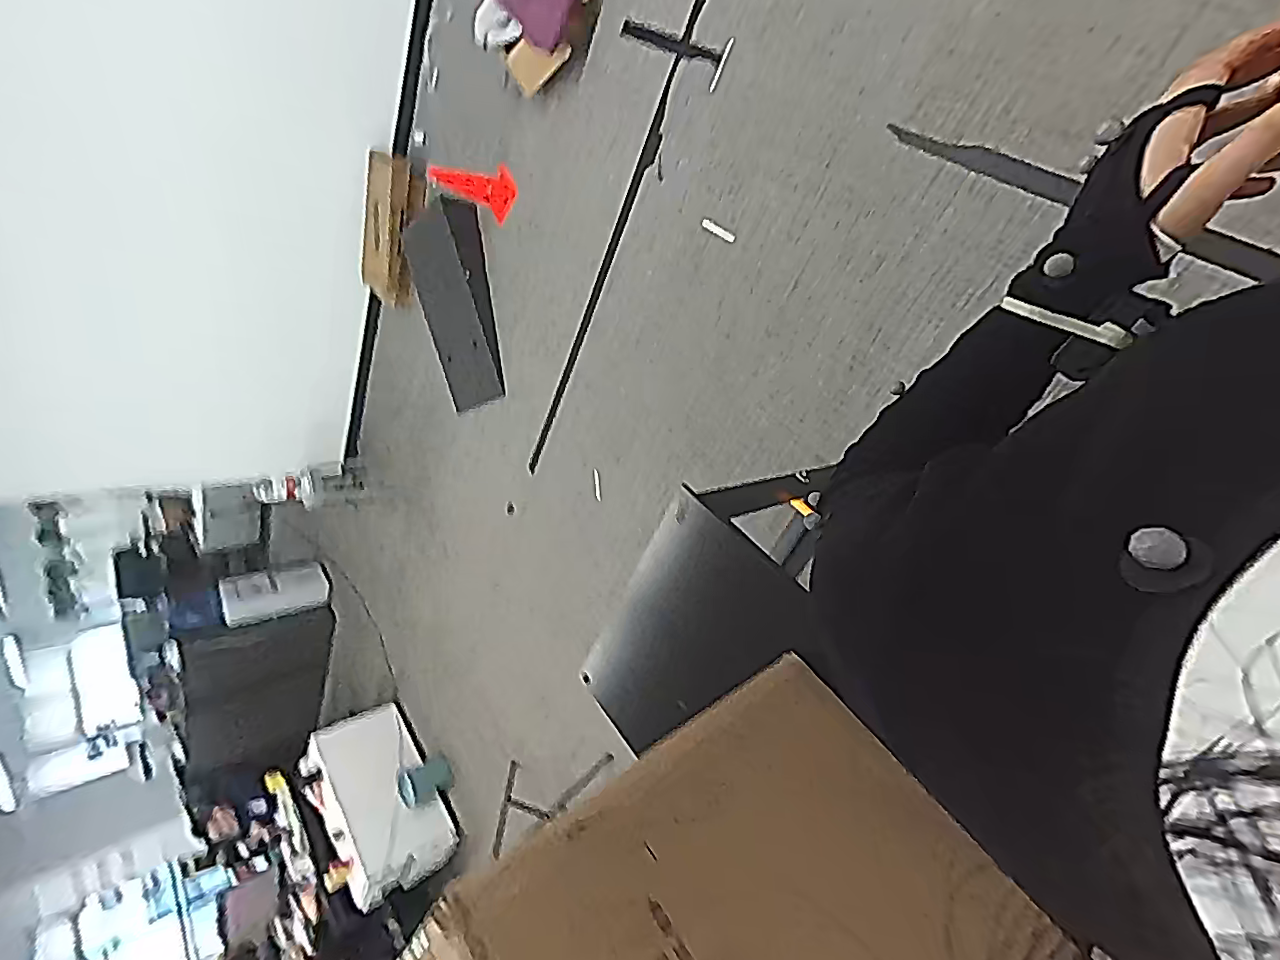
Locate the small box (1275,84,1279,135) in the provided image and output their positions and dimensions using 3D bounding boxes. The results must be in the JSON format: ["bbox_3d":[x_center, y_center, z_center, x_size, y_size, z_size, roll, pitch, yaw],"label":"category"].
[{"bbox_3d":[0.450,-0.282,0.258,0.168,0.176,0.179,15,117,44],"label":"small box"}]
